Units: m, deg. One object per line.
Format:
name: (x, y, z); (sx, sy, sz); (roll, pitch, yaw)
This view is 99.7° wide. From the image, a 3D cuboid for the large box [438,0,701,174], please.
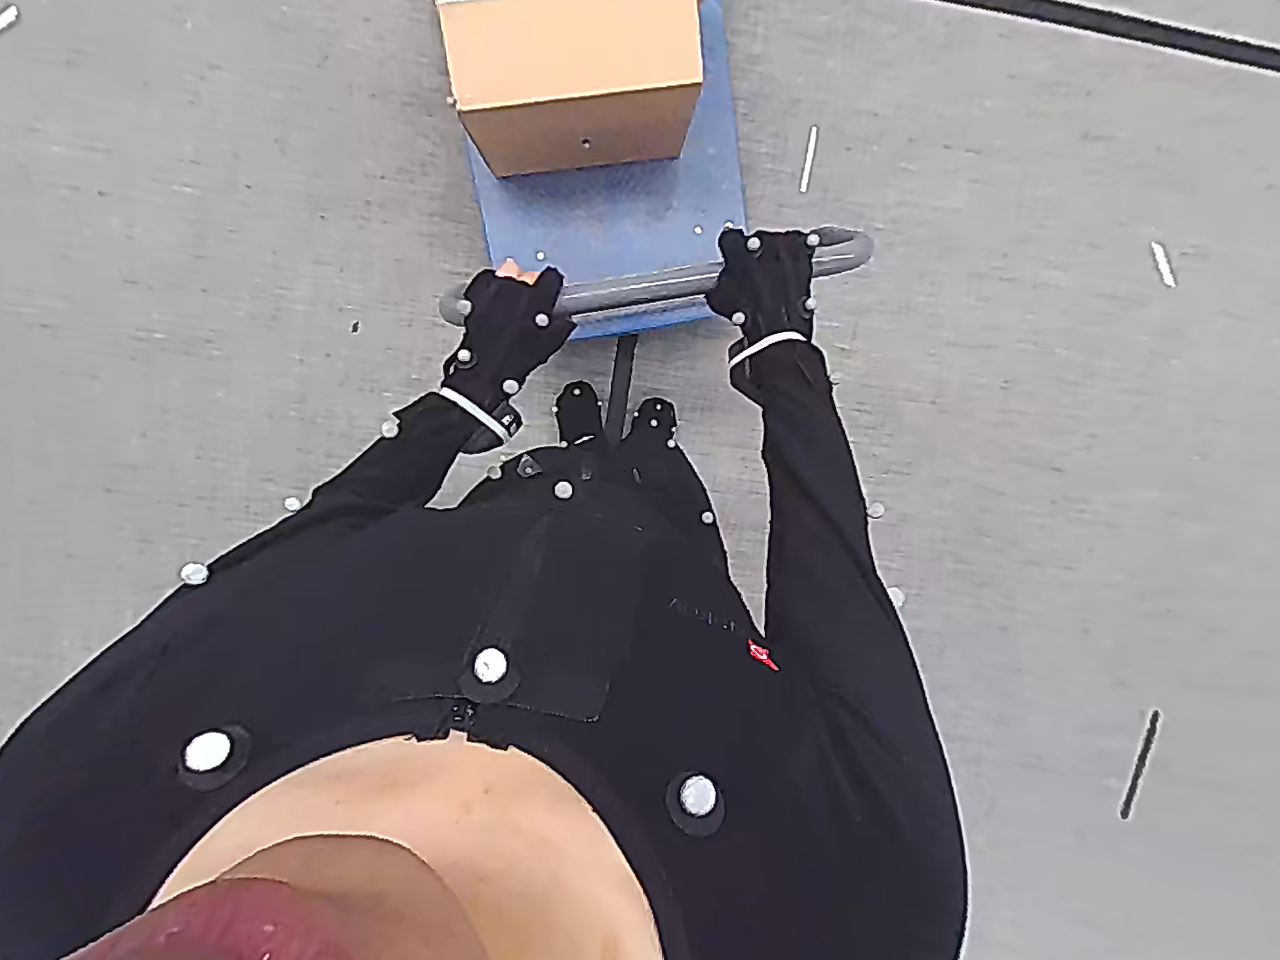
large box: (-0.121, -0.796, 0.988); (0.408, 0.320, 0.320); (-8, 102, -1)
